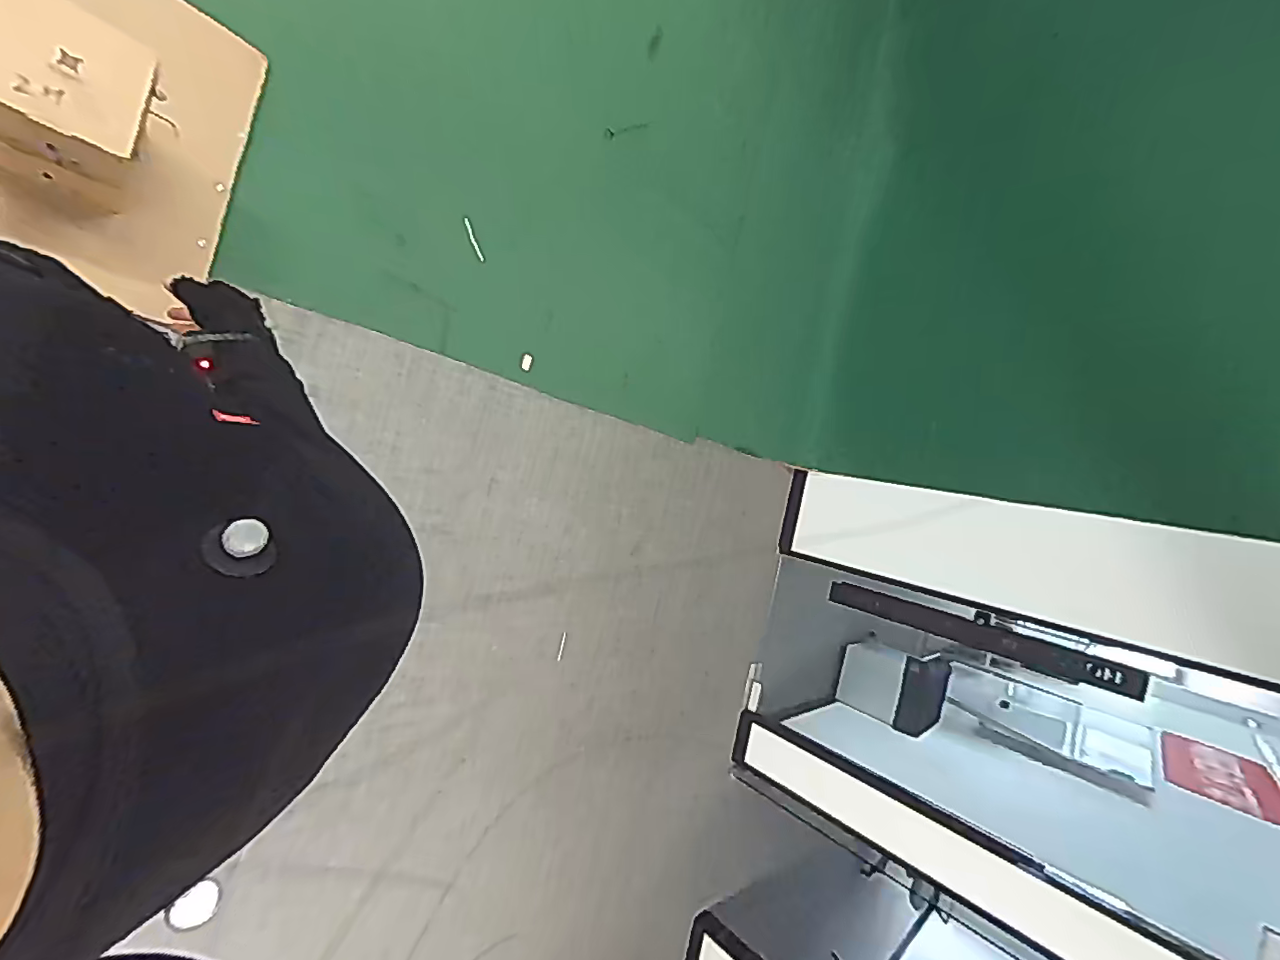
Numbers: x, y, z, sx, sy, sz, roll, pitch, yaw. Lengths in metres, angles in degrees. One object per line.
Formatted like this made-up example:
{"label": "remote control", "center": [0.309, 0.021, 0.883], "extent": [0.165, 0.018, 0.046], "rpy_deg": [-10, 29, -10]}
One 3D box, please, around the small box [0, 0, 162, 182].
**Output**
{"label": "small box", "center": [-0.846, -0.583, 0.800], "extent": [0.168, 0.176, 0.179], "rpy_deg": [17, 87, -45]}

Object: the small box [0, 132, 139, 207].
{"label": "small box", "center": [-0.965, -0.598, 0.914], "extent": [0.168, 0.176, 0.179], "rpy_deg": [14, 90, -46]}
